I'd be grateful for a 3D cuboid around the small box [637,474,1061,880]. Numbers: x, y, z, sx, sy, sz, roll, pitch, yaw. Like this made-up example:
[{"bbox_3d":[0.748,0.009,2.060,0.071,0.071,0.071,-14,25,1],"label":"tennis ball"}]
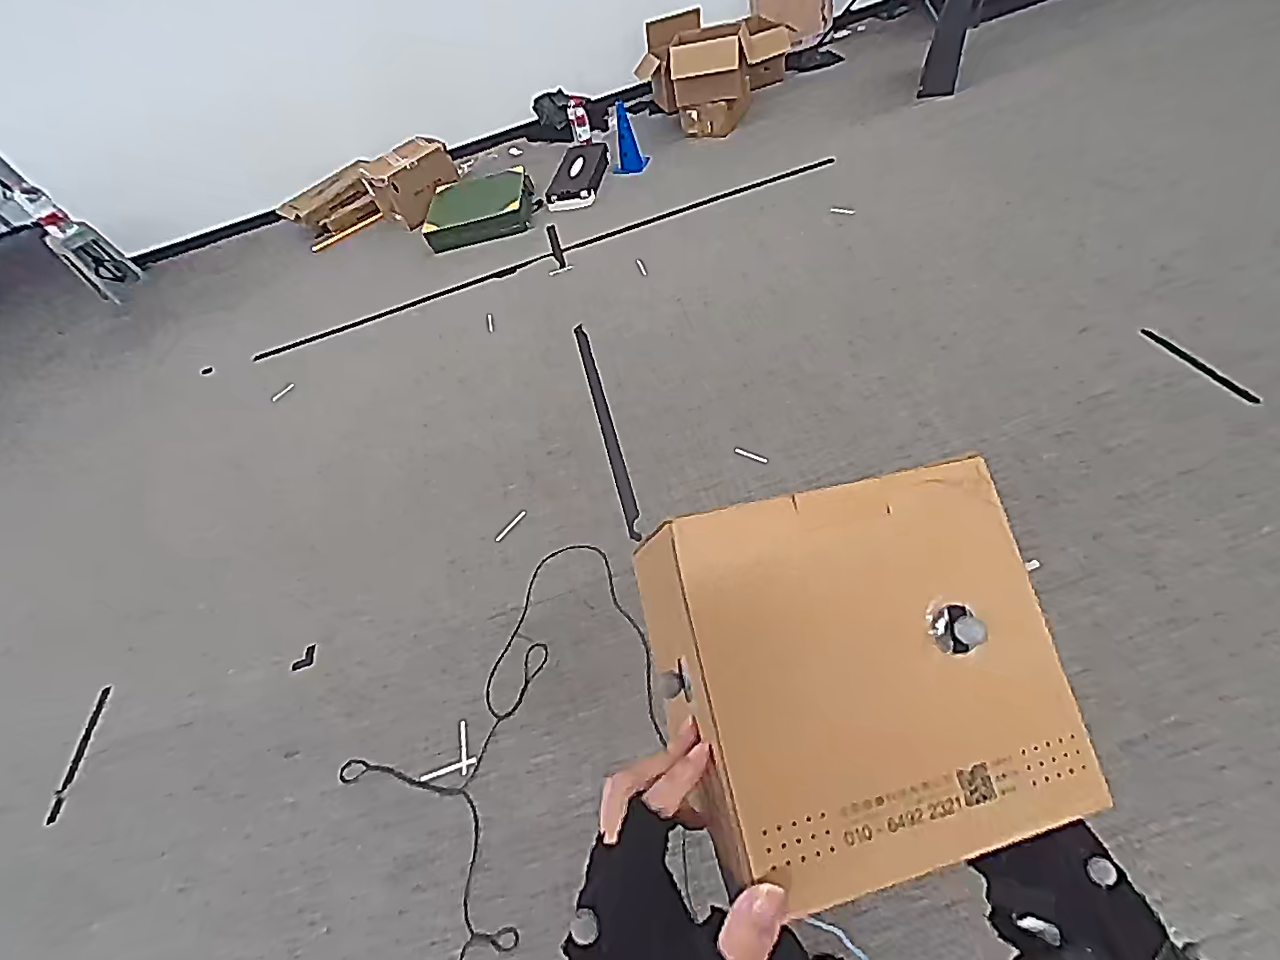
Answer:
[{"bbox_3d":[0.102,0.111,0.337,0.168,0.179,0.176,-11,77,-9],"label":"small box"}]
